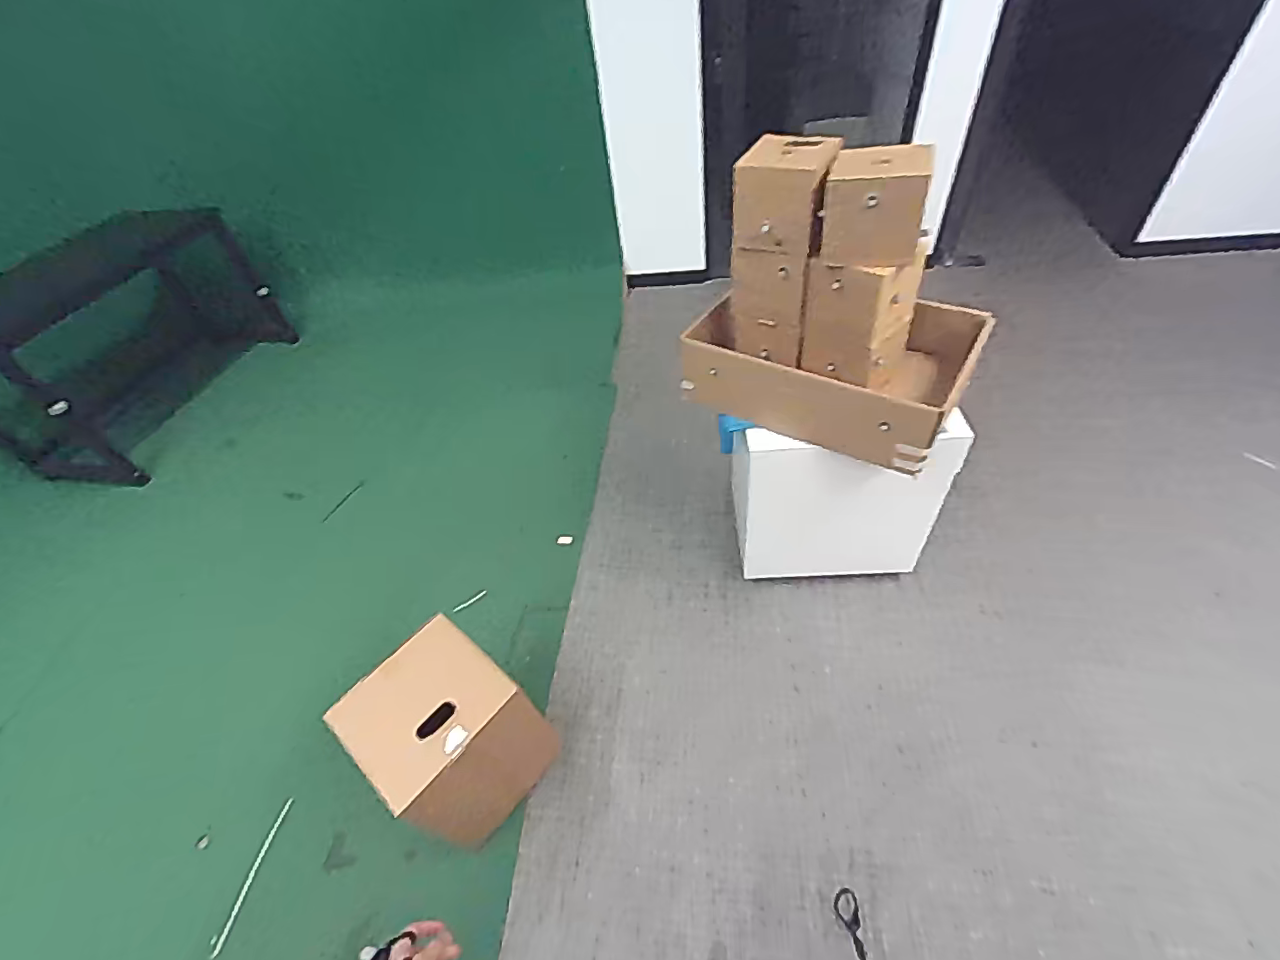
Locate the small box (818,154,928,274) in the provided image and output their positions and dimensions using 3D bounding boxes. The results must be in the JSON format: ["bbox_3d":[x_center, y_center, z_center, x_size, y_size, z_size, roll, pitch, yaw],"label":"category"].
[{"bbox_3d":[0.456,-0.520,1.068,0.179,0.176,0.168,9,48,22],"label":"small box"}]
